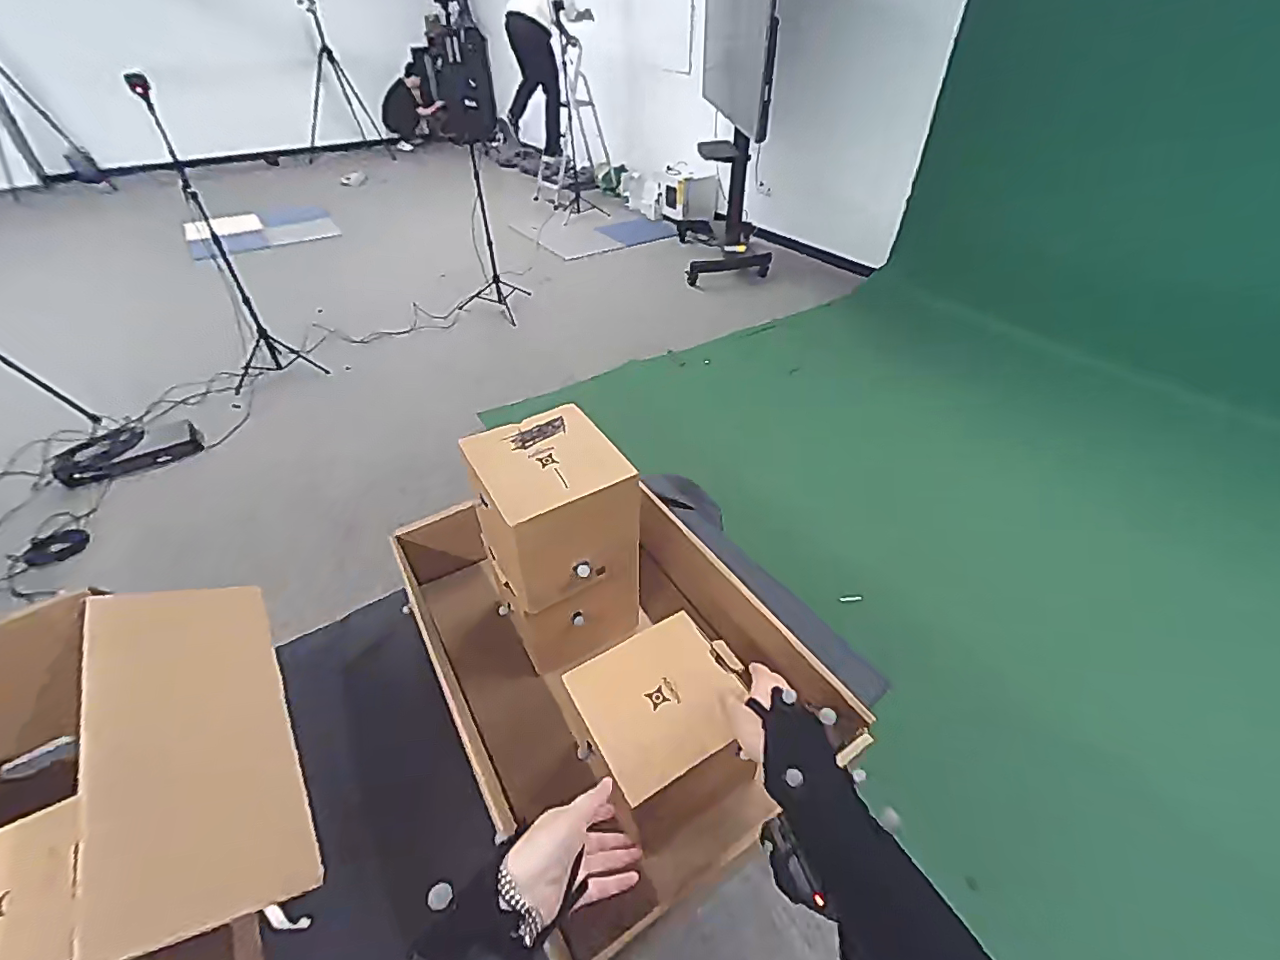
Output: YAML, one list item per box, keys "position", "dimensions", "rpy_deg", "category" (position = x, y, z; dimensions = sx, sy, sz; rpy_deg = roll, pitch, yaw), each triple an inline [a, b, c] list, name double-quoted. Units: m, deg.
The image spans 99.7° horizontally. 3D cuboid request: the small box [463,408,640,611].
- position: [-0.114, 0.037, 0.714]
  dimensions: [0.168, 0.176, 0.179]
  rpy_deg: [-23, 48, -23]
  category: "small box"
